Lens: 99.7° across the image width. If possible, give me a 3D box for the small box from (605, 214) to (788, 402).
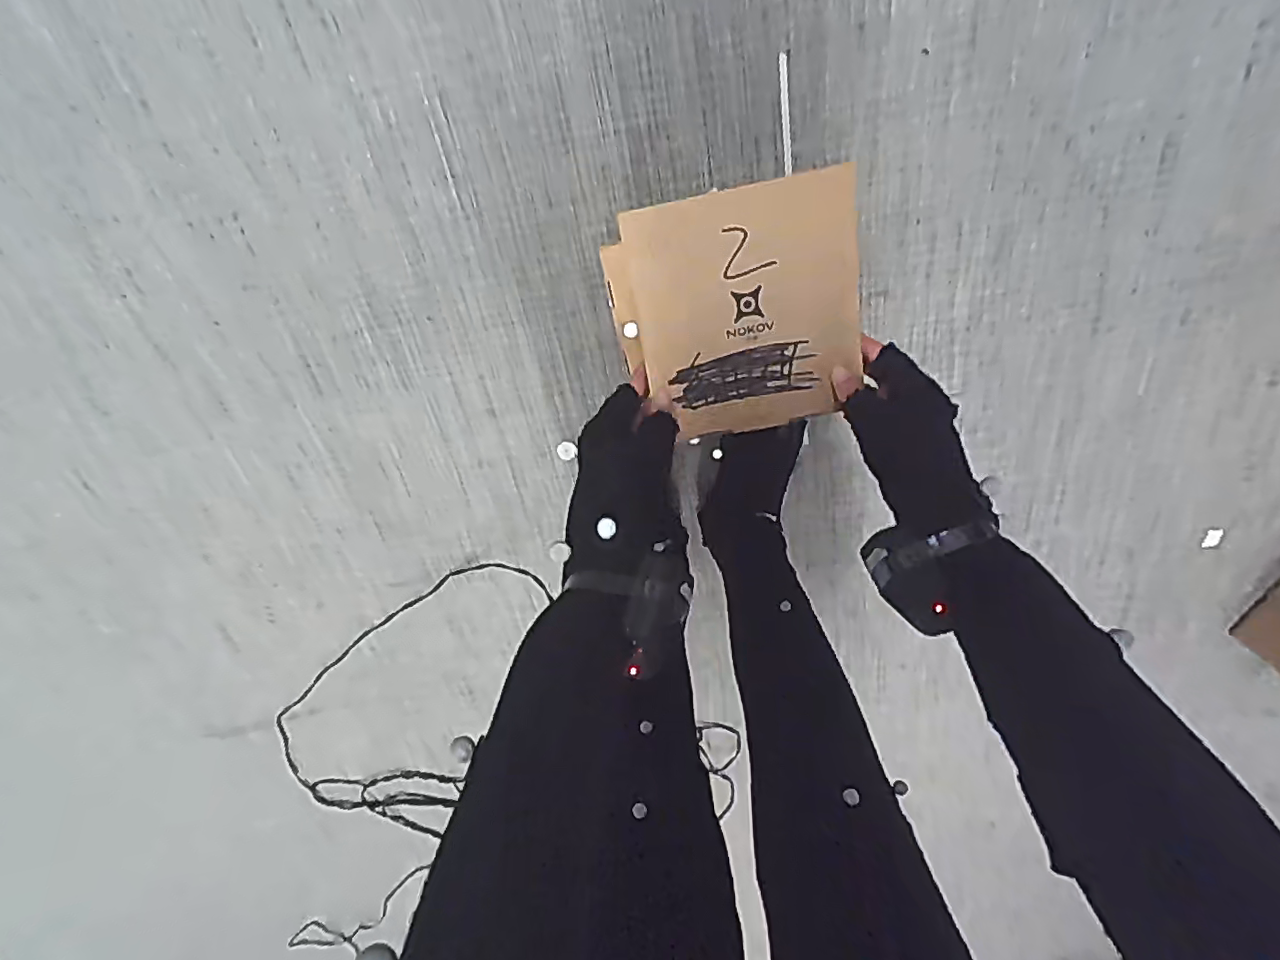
[{"bbox_3d":[0.065,-0.210,0.643,0.179,0.176,0.168,-10,116,7],"label":"small box"}]
